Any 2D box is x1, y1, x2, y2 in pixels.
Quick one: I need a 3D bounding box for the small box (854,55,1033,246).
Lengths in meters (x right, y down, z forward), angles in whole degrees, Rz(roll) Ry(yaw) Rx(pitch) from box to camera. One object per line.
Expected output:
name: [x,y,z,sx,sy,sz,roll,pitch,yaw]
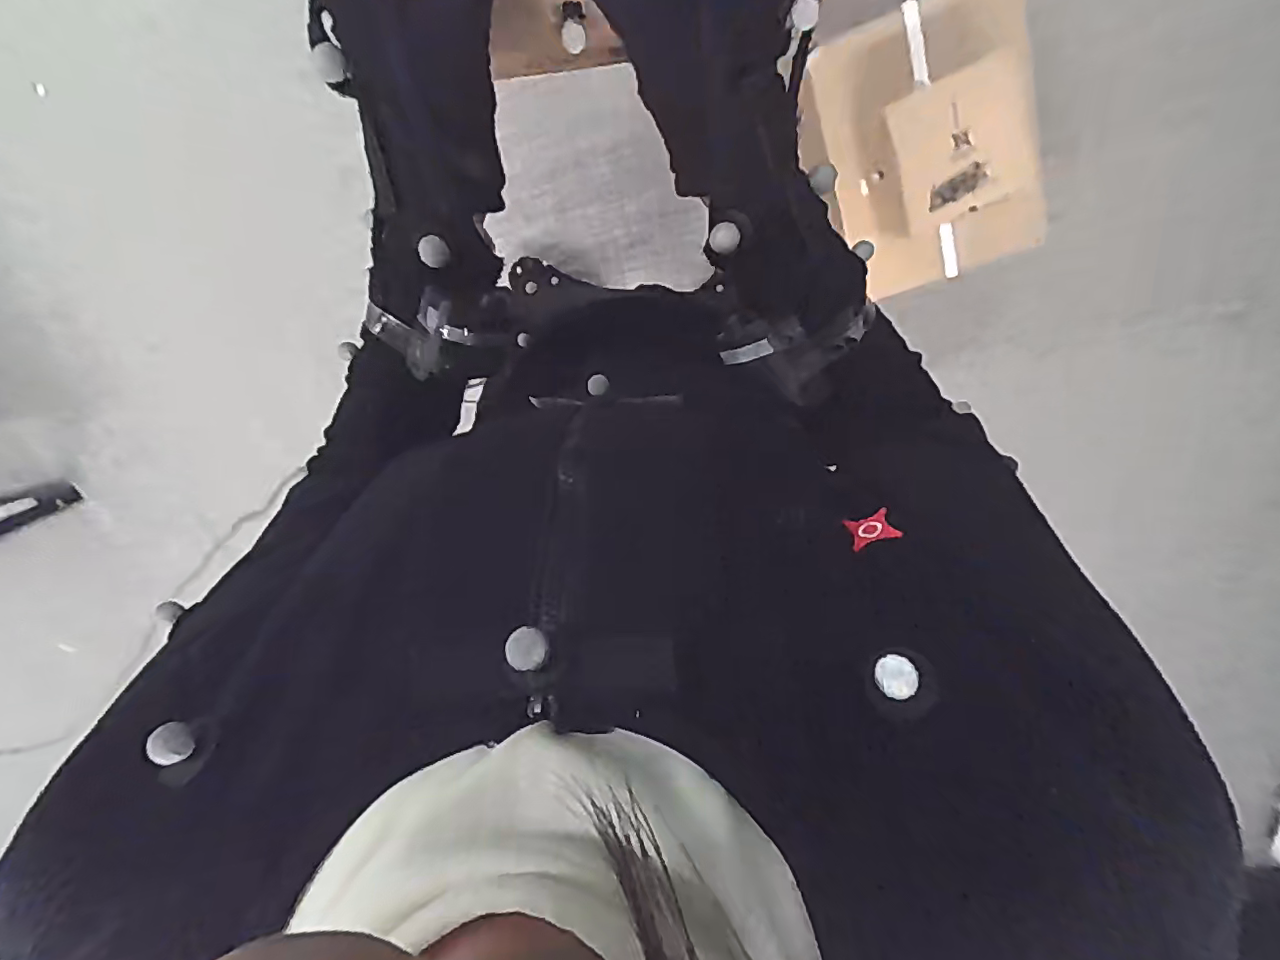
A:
small box: [0.440,-0.474,0.803,0.168,0.176,0.179,-22,111,16]
